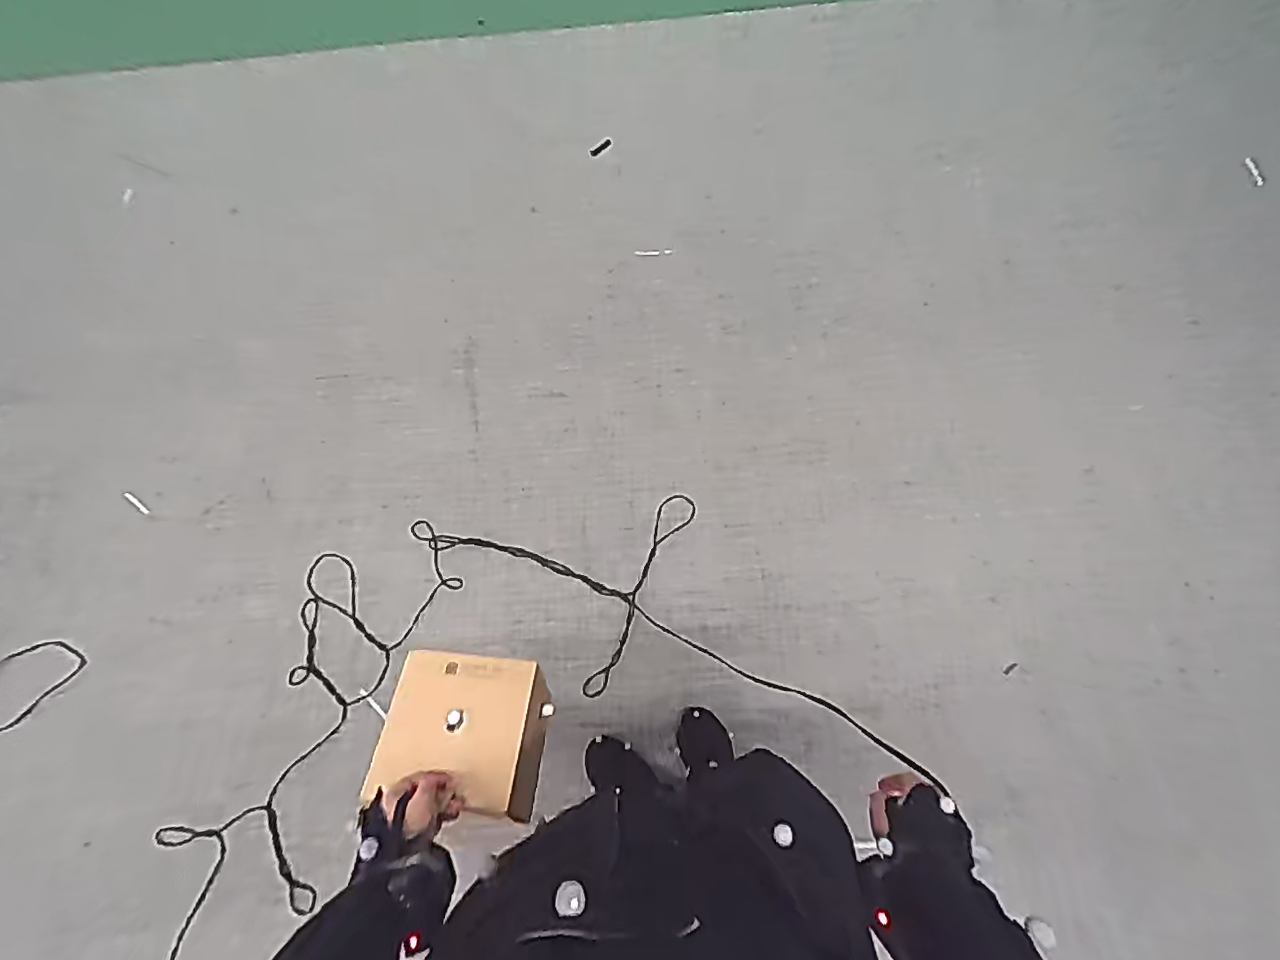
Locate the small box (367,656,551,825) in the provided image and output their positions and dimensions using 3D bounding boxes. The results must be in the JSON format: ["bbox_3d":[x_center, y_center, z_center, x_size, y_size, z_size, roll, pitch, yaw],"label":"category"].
[{"bbox_3d":[-0.216,0.337,0.699,0.168,0.179,0.176,5,56,1],"label":"small box"}]
